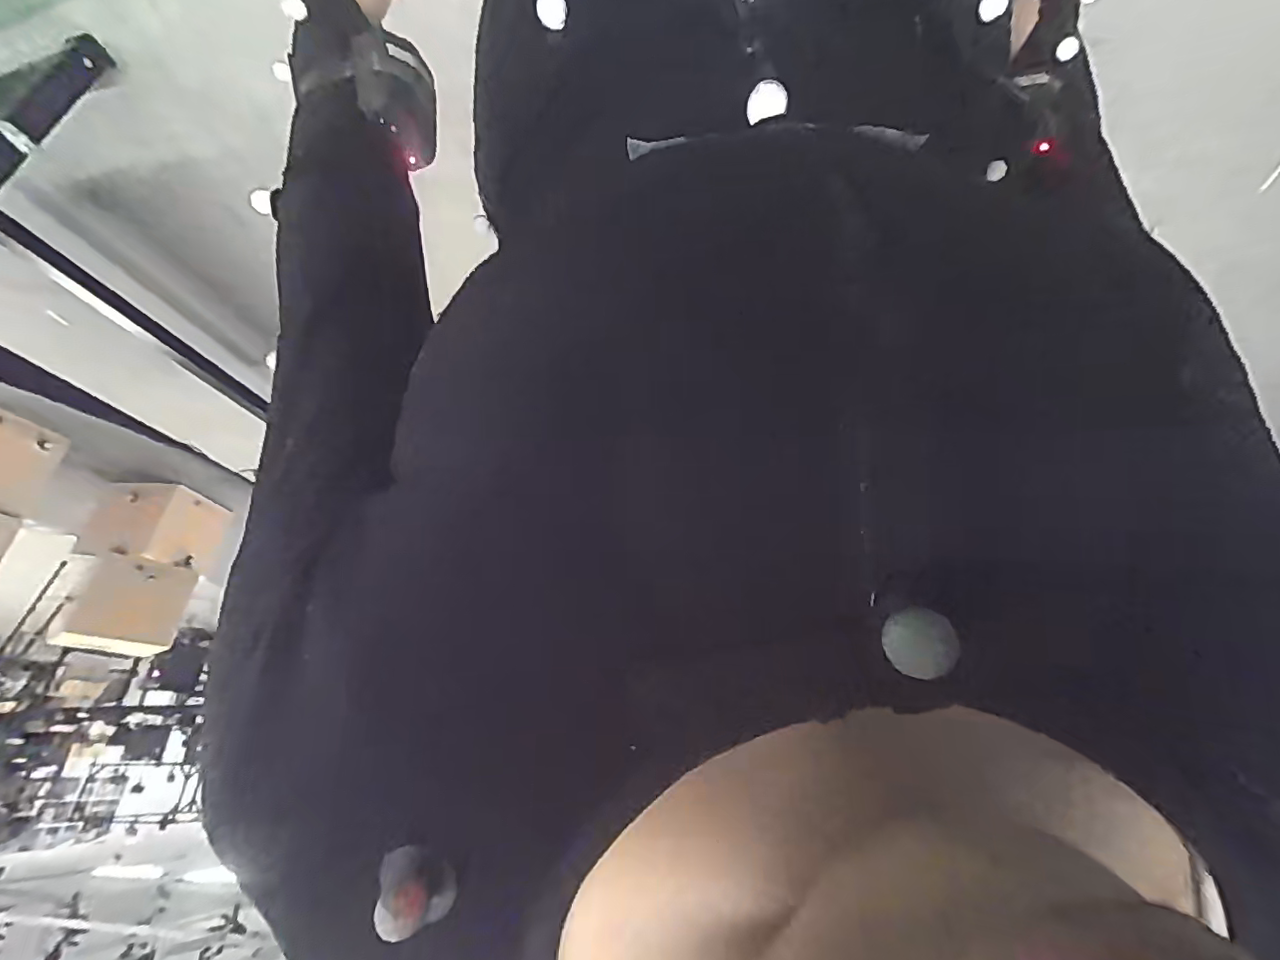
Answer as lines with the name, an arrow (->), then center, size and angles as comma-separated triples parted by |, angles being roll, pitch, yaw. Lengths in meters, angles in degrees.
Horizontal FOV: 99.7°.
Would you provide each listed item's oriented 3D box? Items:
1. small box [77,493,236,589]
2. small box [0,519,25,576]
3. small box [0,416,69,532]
small box -> -1.064, 0.135, 1.209 | 0.179, 0.176, 0.168 | 0, 152, 5
small box -> -1.158, 0.130, 0.854 | 0.179, 0.176, 0.168 | -7, 152, 15
small box -> -1.158, -0.014, 0.930 | 0.179, 0.176, 0.168 | -4, 152, 13
